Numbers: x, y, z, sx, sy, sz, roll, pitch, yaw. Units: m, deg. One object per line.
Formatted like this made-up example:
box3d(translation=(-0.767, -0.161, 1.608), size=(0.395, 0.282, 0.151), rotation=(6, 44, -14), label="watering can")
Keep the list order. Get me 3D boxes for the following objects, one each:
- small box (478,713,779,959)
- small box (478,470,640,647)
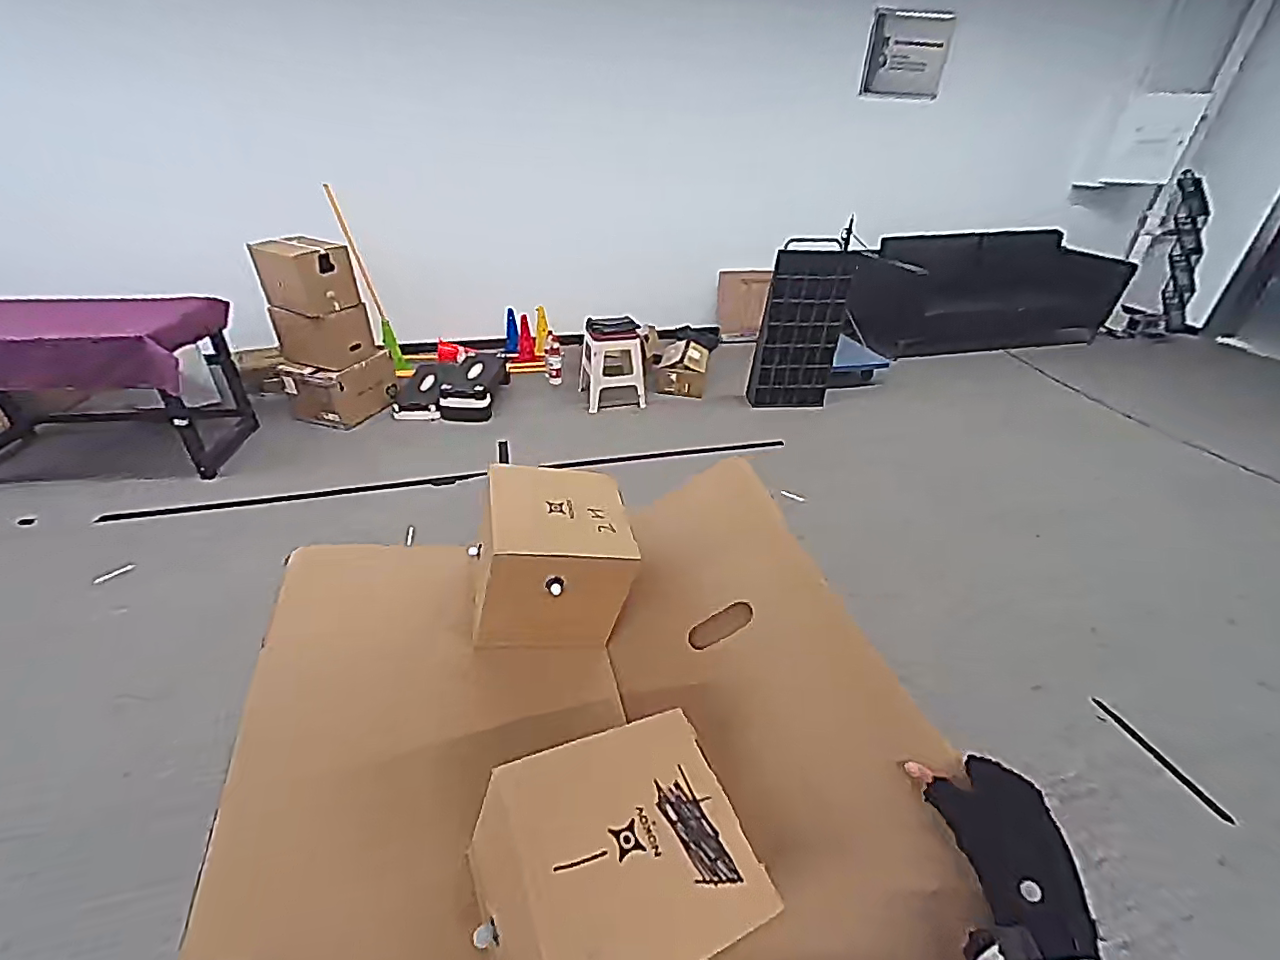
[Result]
box3d(translation=(-0.024, 0.334, 0.458), size=(0.179, 0.176, 0.168), rotation=(-4, 41, -31), label="small box")
box3d(translation=(-0.119, 0.108, 0.725), size=(0.179, 0.176, 0.168), rotation=(6, 37, -21), label="small box")
